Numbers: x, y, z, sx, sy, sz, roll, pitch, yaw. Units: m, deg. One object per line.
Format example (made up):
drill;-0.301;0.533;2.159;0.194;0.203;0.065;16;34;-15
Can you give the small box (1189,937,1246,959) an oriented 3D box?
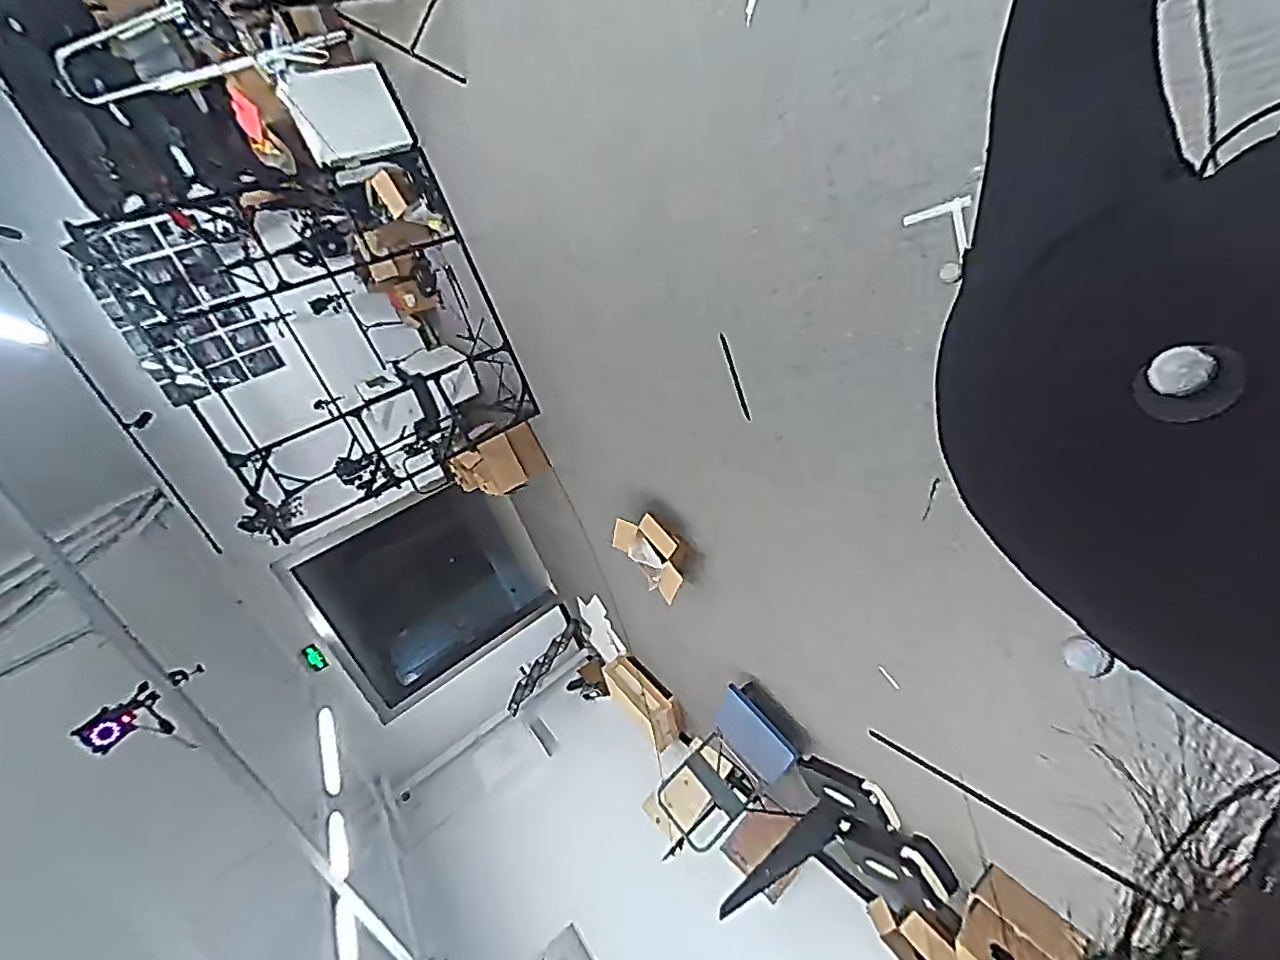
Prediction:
small box;1.691;1.472;1.540;0.179;0.176;0.168;31;144;47

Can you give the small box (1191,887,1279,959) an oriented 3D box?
small box;1.808;1.369;1.599;0.179;0.176;0.168;33;147;46
